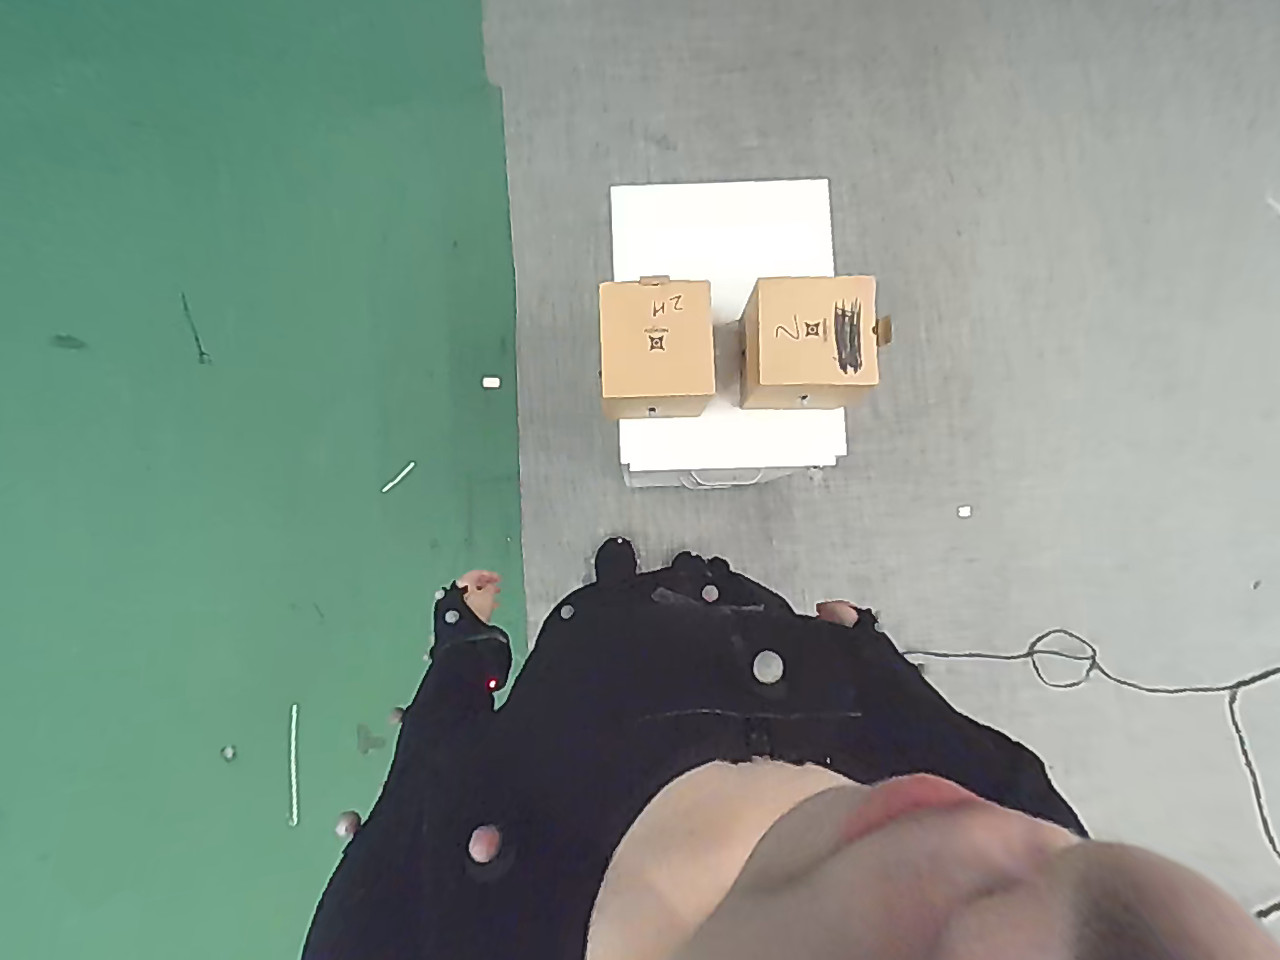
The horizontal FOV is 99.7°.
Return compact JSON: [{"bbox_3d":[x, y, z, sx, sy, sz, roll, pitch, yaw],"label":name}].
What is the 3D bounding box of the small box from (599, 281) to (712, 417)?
[{"bbox_3d":[0.021,-0.198,0.862,0.168,0.176,0.179,-1,85,-2],"label":"small box"}]
